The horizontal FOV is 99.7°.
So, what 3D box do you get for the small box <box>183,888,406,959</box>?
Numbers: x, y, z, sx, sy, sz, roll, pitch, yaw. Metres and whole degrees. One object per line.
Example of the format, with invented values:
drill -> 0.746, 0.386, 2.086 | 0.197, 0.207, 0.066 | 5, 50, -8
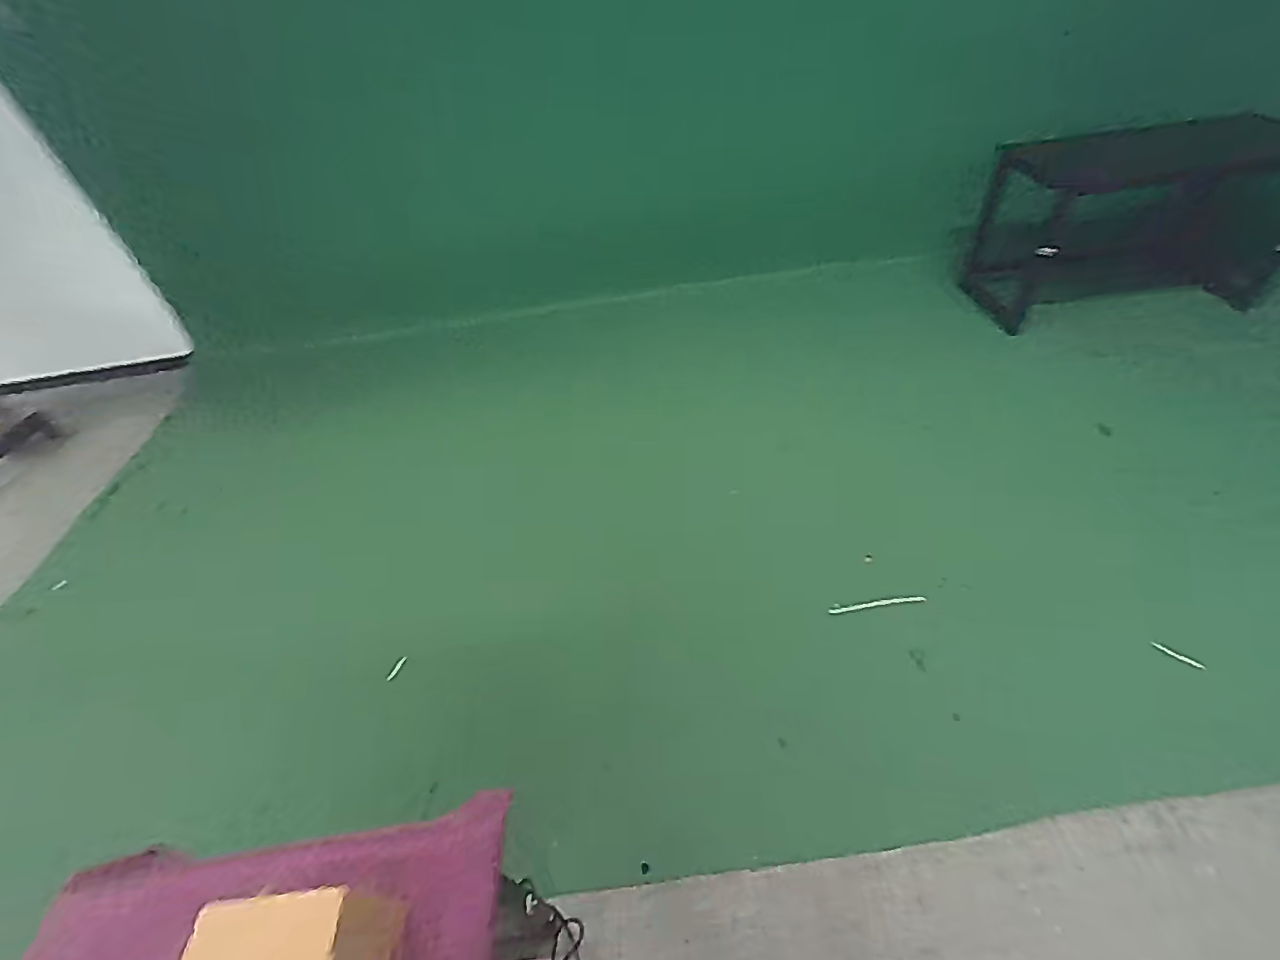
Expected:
small box -> -0.407, 0.596, 0.628 | 0.179, 0.176, 0.168 | -8, 46, 2
